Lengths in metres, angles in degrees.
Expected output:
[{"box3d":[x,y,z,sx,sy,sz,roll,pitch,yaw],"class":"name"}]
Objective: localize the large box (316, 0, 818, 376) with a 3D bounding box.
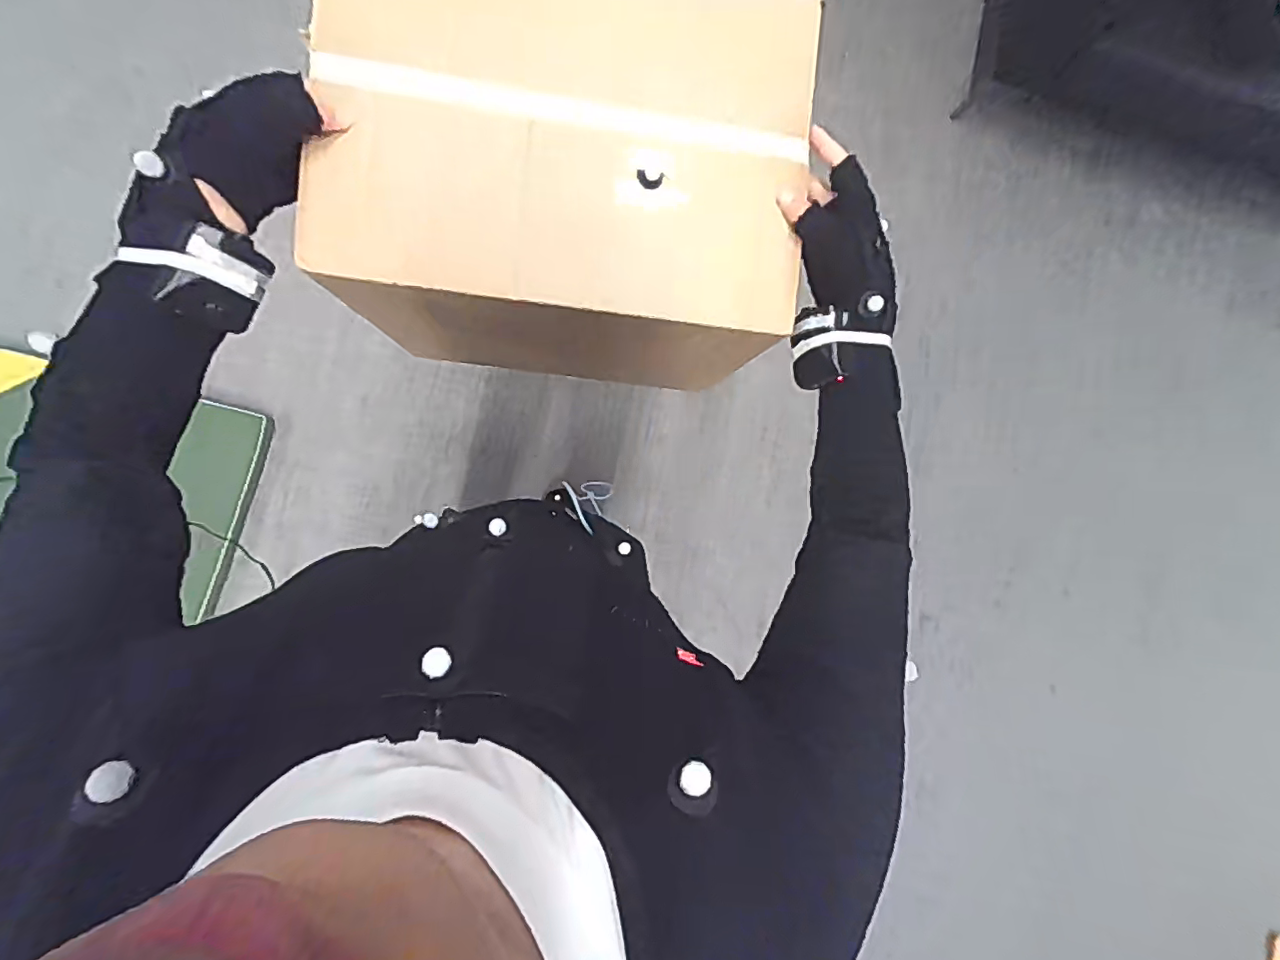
[{"box3d":[-0.071,-0.310,0.594,0.408,0.320,0.320,5,90,-9],"class":"large box"}]
